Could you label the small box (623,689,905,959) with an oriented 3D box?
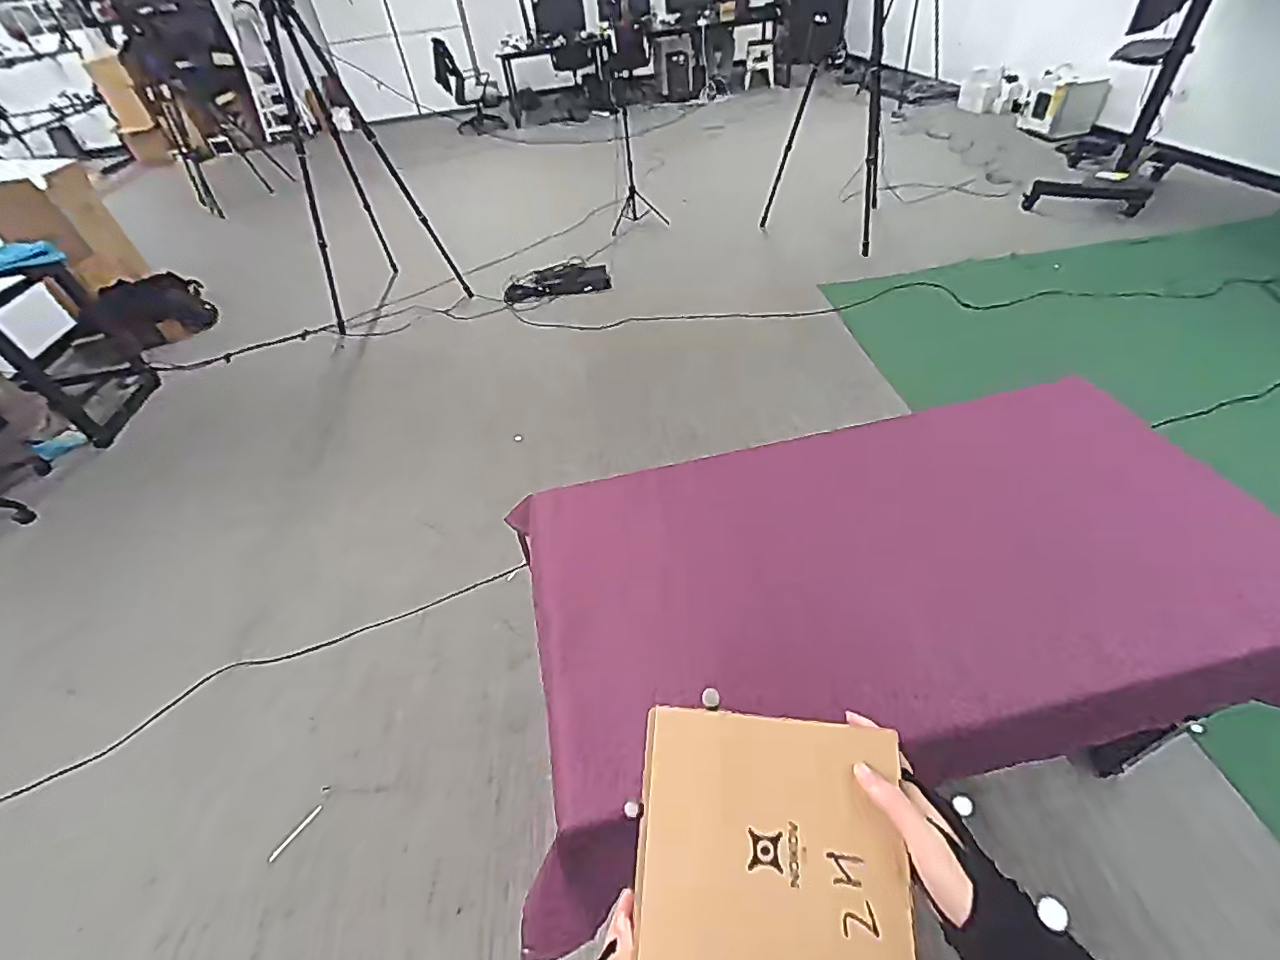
[{"bbox_3d":[0.085,0.269,0.435,0.179,0.176,0.168,5,66,3],"label":"small box"}]
